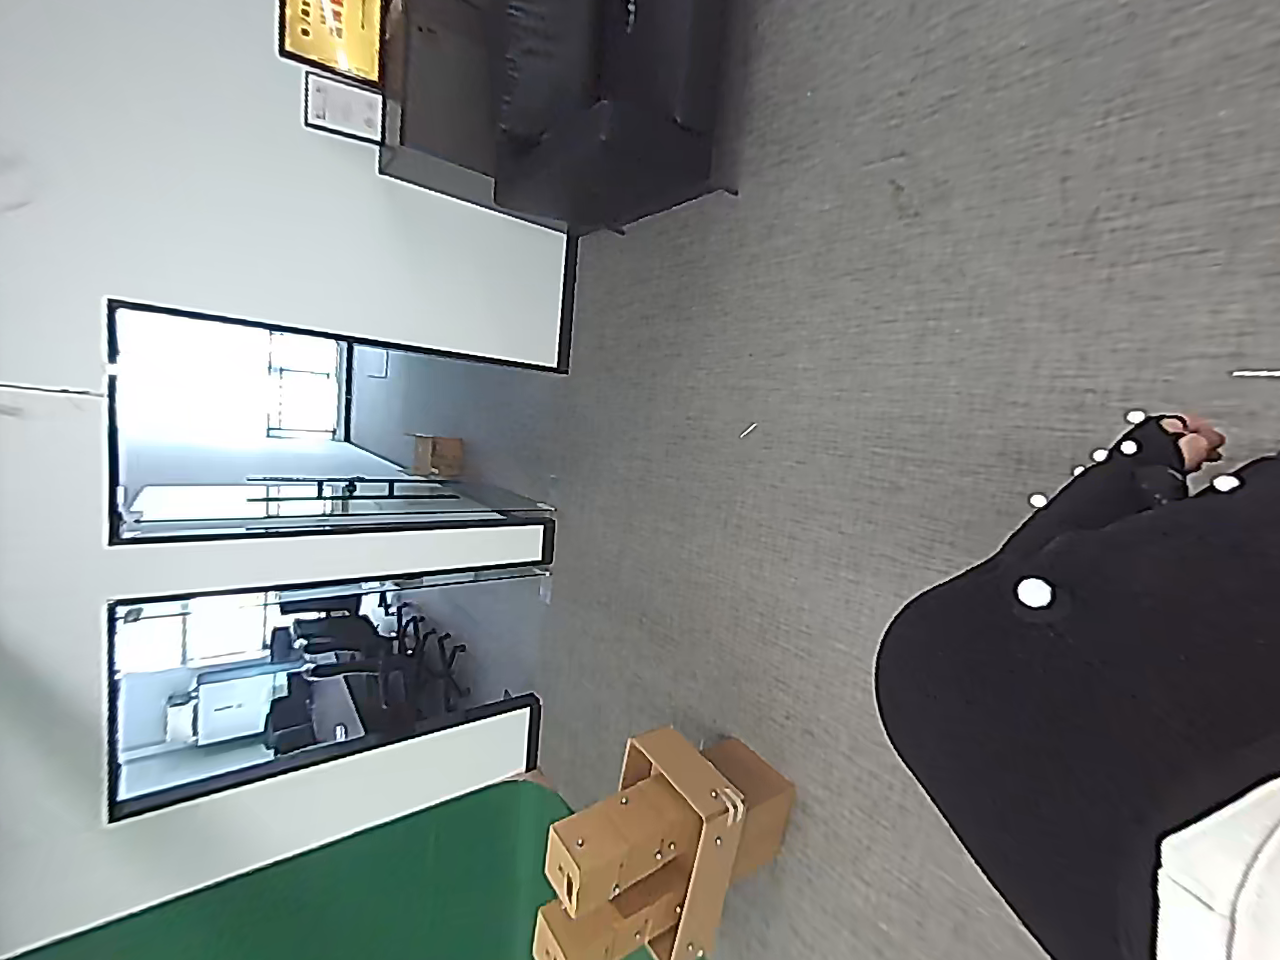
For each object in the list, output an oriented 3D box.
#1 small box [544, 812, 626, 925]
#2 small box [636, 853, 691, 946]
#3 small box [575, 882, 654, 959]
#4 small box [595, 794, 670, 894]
[{"bbox_3d":[-0.158,1.111,1.565,0.179,0.176,0.168,21,107,50],"label":"small box"},{"bbox_3d":[0.045,1.397,1.829,0.179,0.176,0.168,24,109,49],"label":"small box"},{"bbox_3d":[-0.082,1.396,1.731,0.179,0.176,0.168,24,108,48],"label":"small box"},{"bbox_3d":[-0.033,1.109,1.671,0.179,0.176,0.168,21,106,48],"label":"small box"}]
